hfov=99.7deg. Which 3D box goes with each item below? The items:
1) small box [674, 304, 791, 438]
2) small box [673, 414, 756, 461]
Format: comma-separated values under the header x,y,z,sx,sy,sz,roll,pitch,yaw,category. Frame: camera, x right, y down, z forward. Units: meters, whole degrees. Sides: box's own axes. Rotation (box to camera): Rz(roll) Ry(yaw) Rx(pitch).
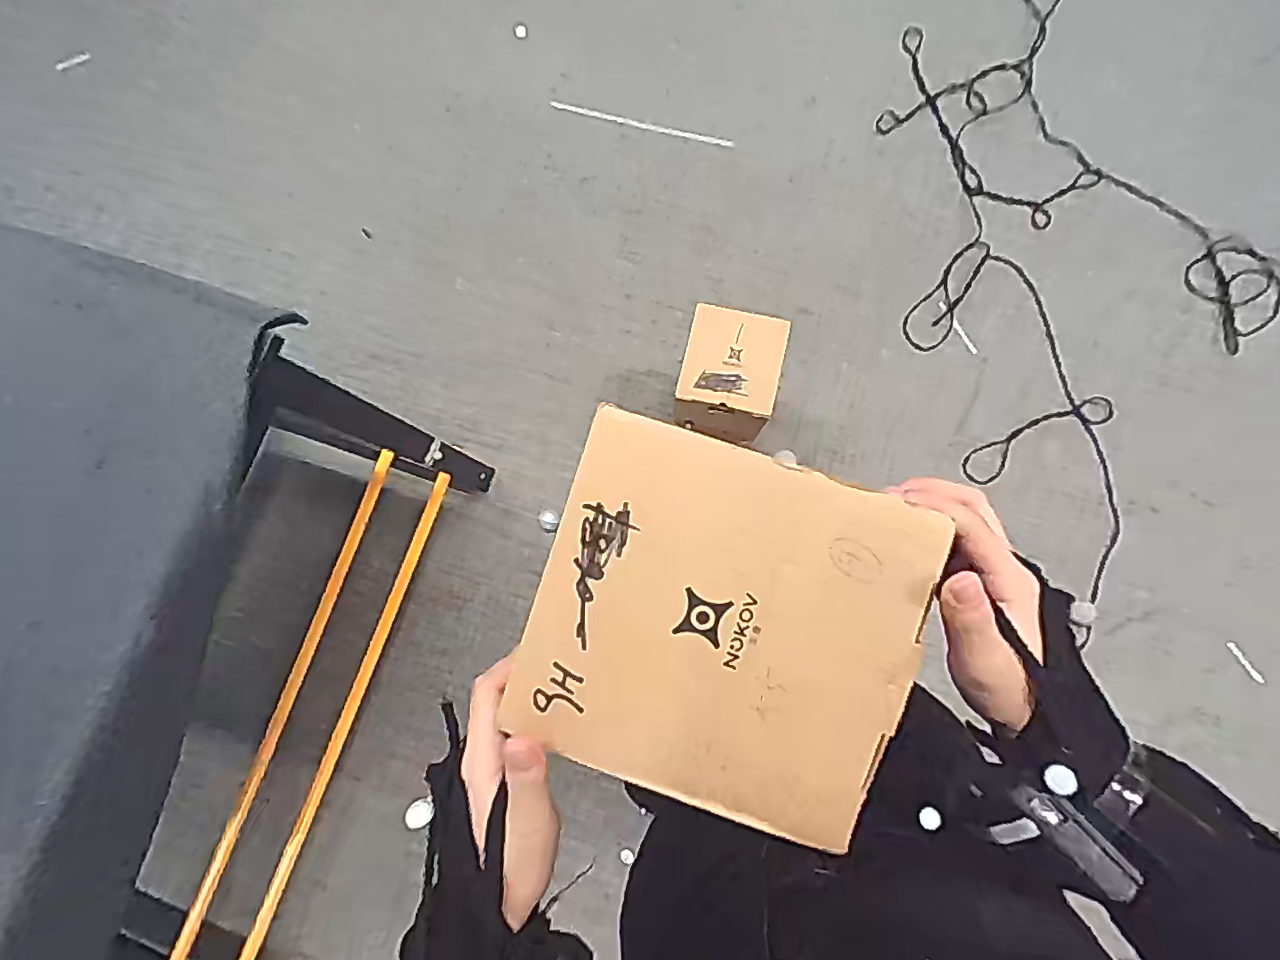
x,y,z,sx,sy,sz,roll,pitch,yaw,category
0.161,-0.189,0.985,0.168,0.176,0.179,13,81,5,small box
0.166,-0.152,1.145,0.168,0.176,0.179,12,83,6,small box
